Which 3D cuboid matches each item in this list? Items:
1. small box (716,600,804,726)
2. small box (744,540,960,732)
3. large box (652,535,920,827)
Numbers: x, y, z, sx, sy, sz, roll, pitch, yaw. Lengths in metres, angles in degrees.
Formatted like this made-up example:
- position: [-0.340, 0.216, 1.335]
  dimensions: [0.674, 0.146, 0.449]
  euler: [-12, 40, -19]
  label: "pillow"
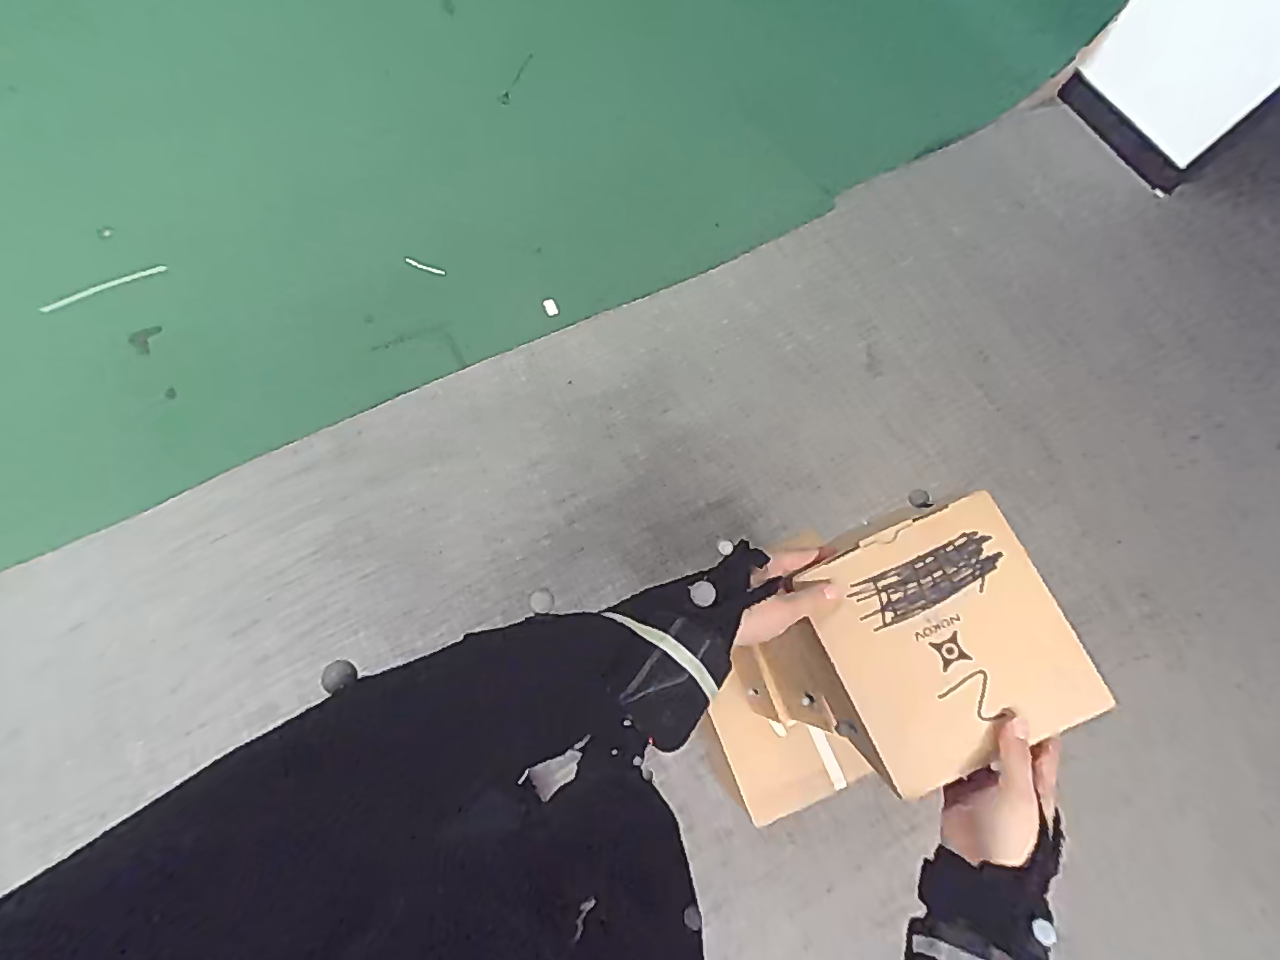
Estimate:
- position: [0.236, 0.260, 0.852]
  dimensions: [0.168, 0.176, 0.179]
  euler: [-19, 73, -10]
  label: "small box"
- position: [0.255, 0.200, 0.702]
  dimensions: [0.168, 0.176, 0.179]
  euler: [-20, 75, -10]
  label: "small box"
- position: [0.247, 0.368, 1.073]
  dimensions: [0.320, 0.320, 0.408]
  euler: [-21, 76, -8]
  label: "large box"
